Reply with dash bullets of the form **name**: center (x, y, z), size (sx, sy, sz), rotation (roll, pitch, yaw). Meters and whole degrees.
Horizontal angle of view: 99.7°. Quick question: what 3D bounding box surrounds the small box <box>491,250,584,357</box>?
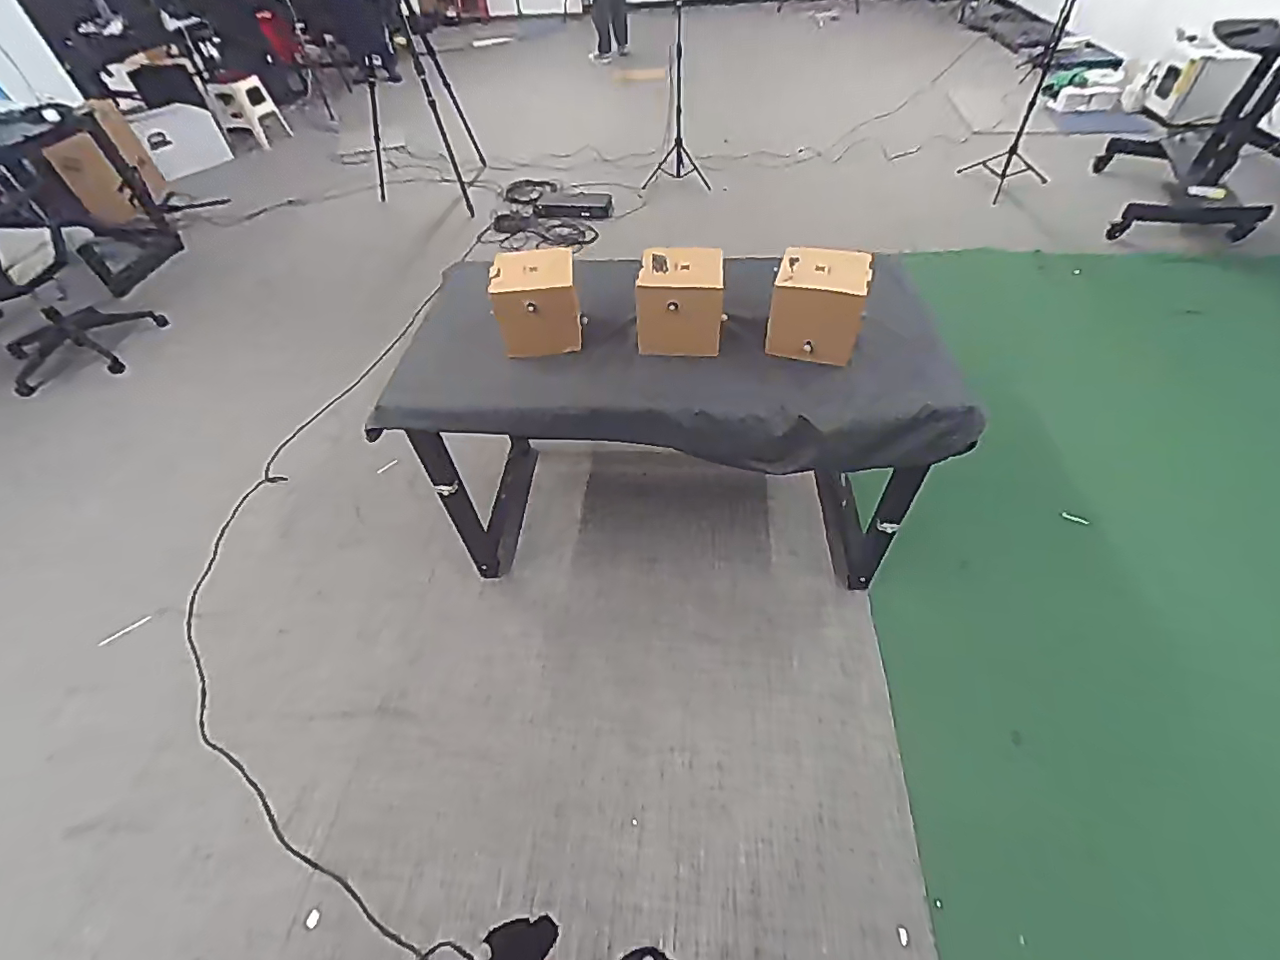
- **small box**: center (-0.222, -0.393, 1.217), size (0.179, 0.176, 0.168), rotation (-5, 50, -2)

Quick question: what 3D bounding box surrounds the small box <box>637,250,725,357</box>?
- **small box**: center (0.093, -0.385, 1.187), size (0.179, 0.176, 0.168), rotation (3, 49, 6)

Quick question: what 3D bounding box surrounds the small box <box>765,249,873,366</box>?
- **small box**: center (0.377, -0.363, 1.151), size (0.179, 0.176, 0.168), rotation (13, 51, 14)
